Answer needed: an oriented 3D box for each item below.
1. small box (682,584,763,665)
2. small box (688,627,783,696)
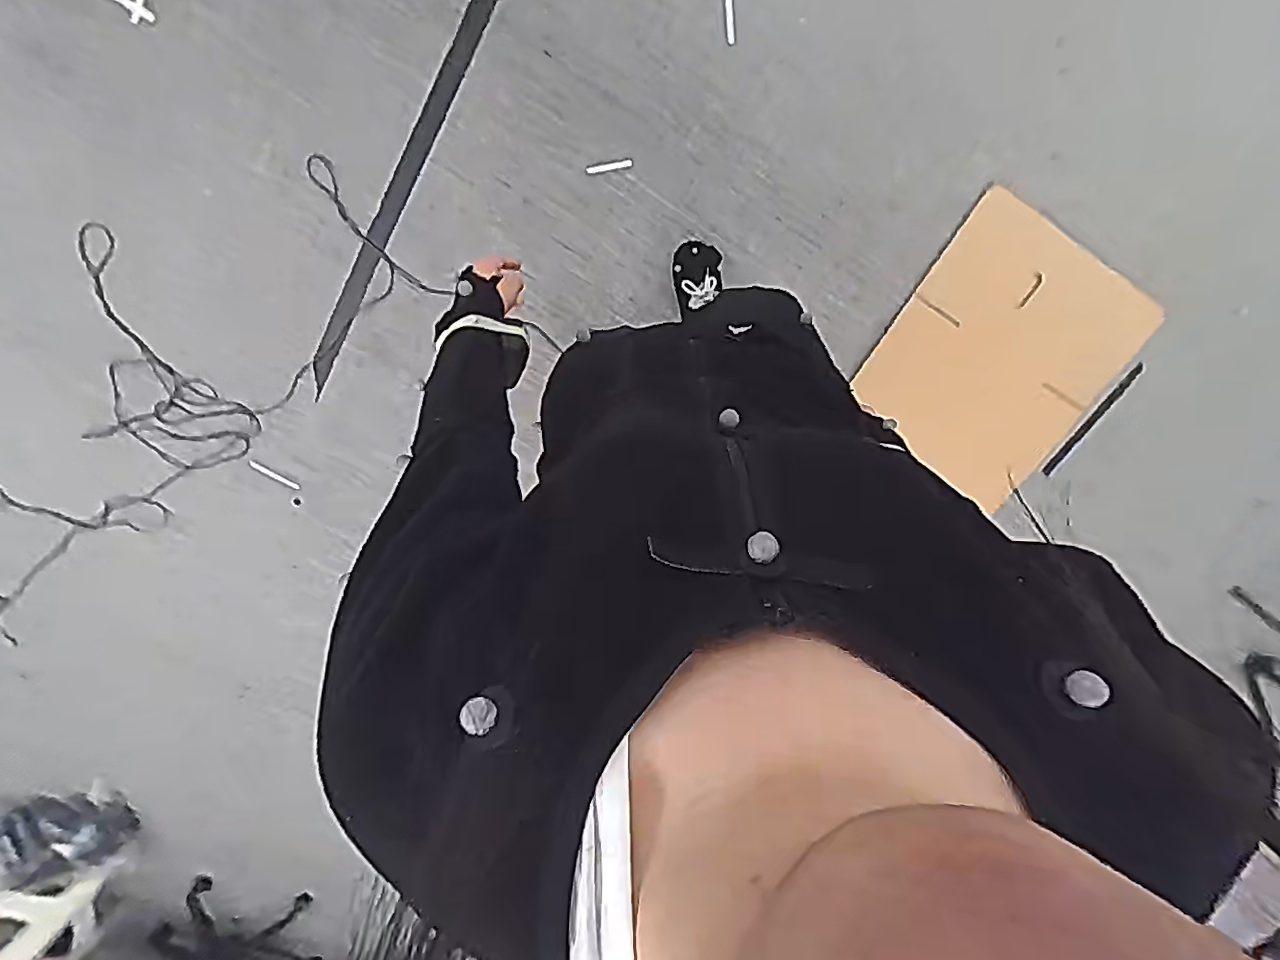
[{"bbox_3d":[0.193,0.369,1.264,0.168,0.176,0.179,-9,110,3],"label":"small box"},{"bbox_3d":[0.195,0.430,1.112,0.168,0.176,0.179,-8,111,2],"label":"small box"}]
